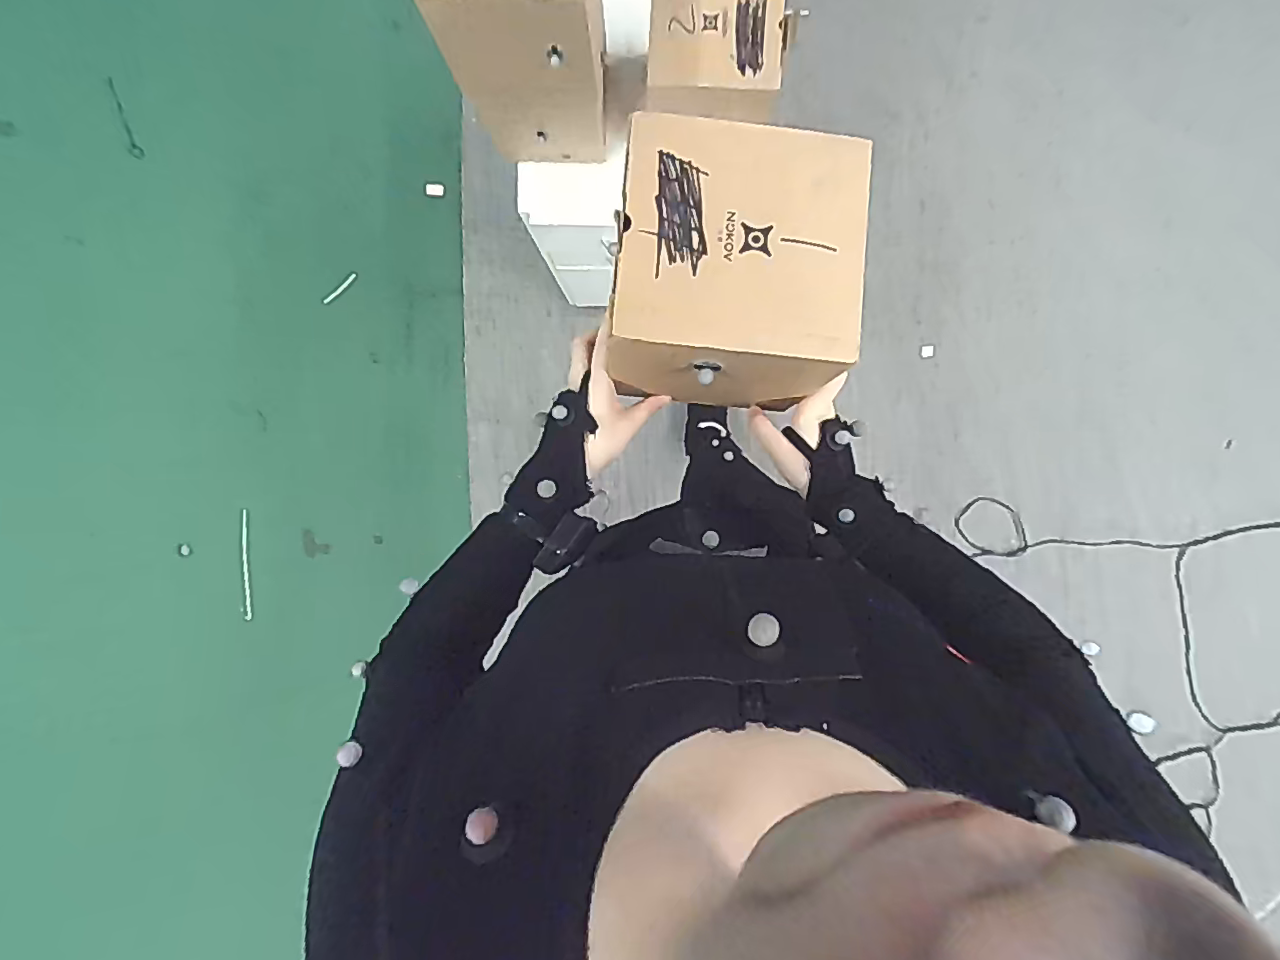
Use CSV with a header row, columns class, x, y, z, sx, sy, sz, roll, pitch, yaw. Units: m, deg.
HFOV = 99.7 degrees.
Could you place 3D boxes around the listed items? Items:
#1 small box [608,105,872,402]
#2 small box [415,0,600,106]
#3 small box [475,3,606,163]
class,x,y,z,sx,sy,sz,roll,pitch,yaw
small box,0.069,-0.169,0.456,0.179,0.176,0.168,6,86,-3
small box,-0.138,-0.562,0.617,0.179,0.176,0.168,0,92,1
small box,-0.136,-0.585,0.778,0.168,0.176,0.179,1,93,0
